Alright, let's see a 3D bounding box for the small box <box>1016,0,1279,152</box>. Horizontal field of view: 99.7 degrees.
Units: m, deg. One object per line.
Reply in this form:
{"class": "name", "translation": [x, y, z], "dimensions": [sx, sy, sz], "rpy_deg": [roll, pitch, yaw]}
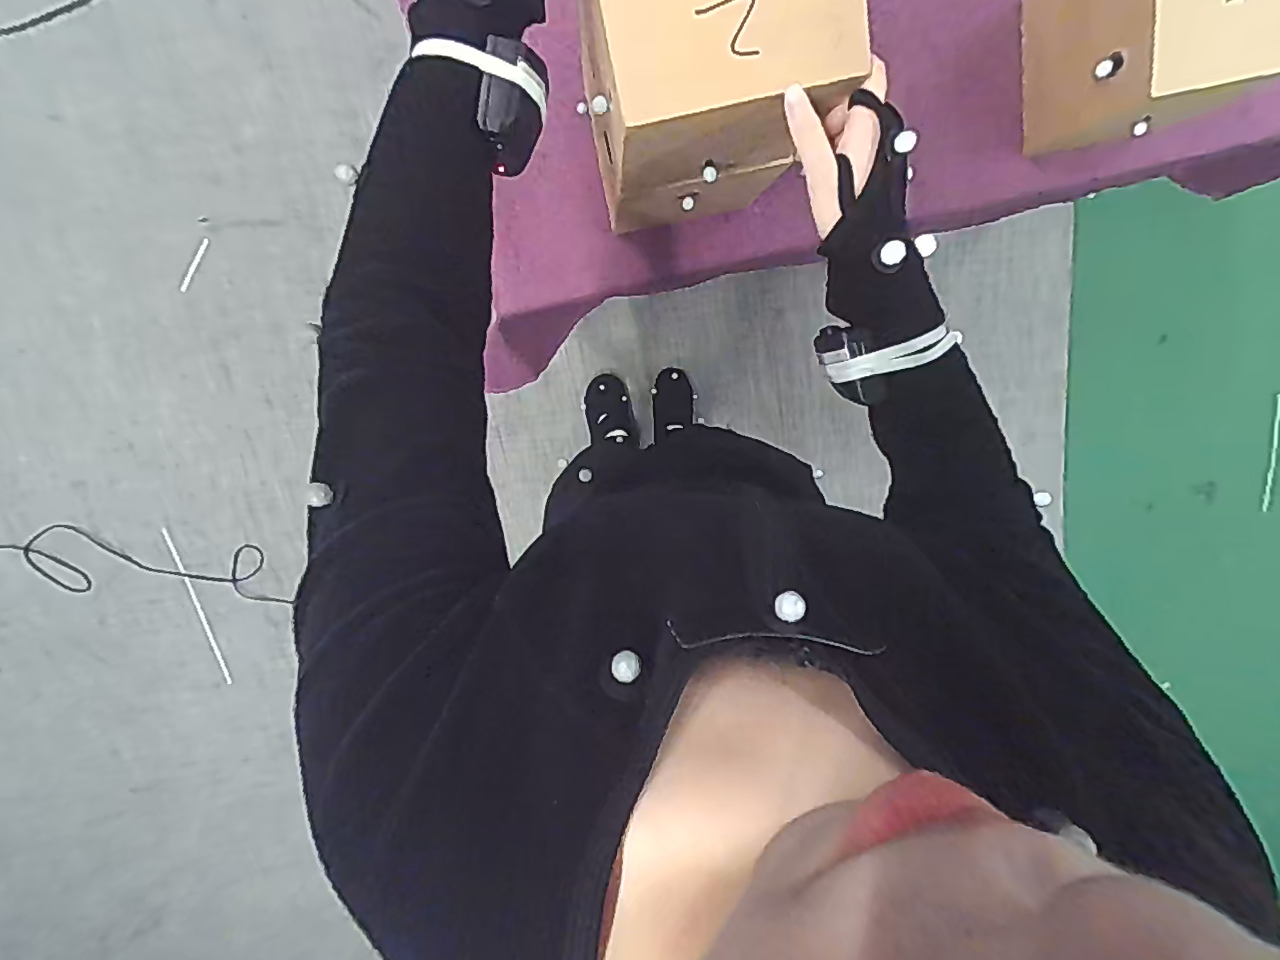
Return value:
{"class": "small box", "translation": [0.549, -0.486, 0.593], "dimensions": [0.168, 0.176, 0.179], "rpy_deg": [-12, 104, -2]}

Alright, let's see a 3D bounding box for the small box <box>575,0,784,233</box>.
{"class": "small box", "translation": [0.036, -0.382, 0.583], "dimensions": [0.179, 0.176, 0.168], "rpy_deg": [-12, 104, -2]}
